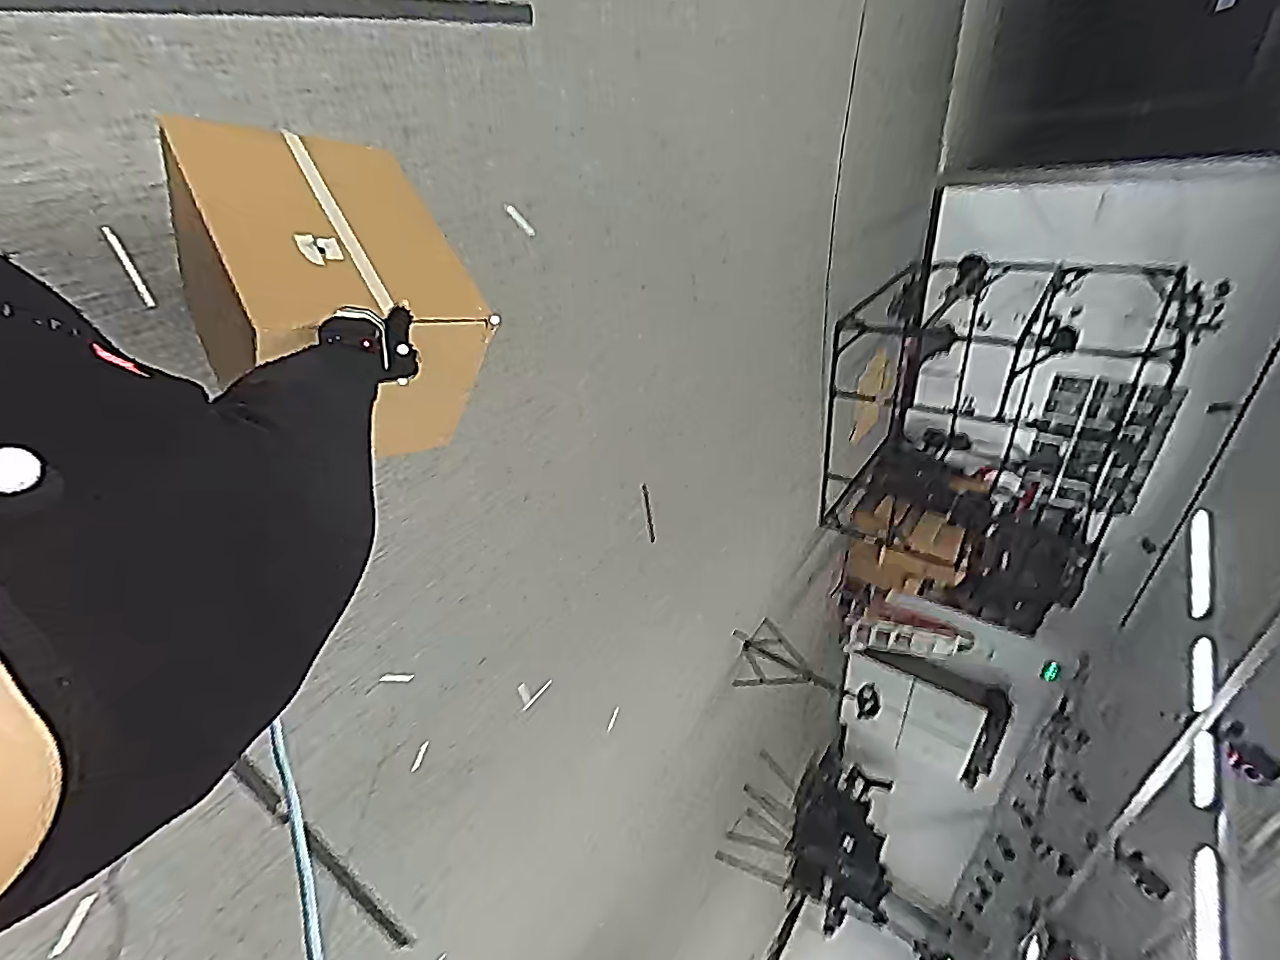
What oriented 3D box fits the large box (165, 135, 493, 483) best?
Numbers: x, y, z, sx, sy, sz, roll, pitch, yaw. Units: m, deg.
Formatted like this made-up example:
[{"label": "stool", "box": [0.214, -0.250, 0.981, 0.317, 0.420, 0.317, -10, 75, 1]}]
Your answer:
[{"label": "large box", "box": [-0.511, -0.265, 0.888, 0.320, 0.408, 0.320, -19, 159, -43]}]
